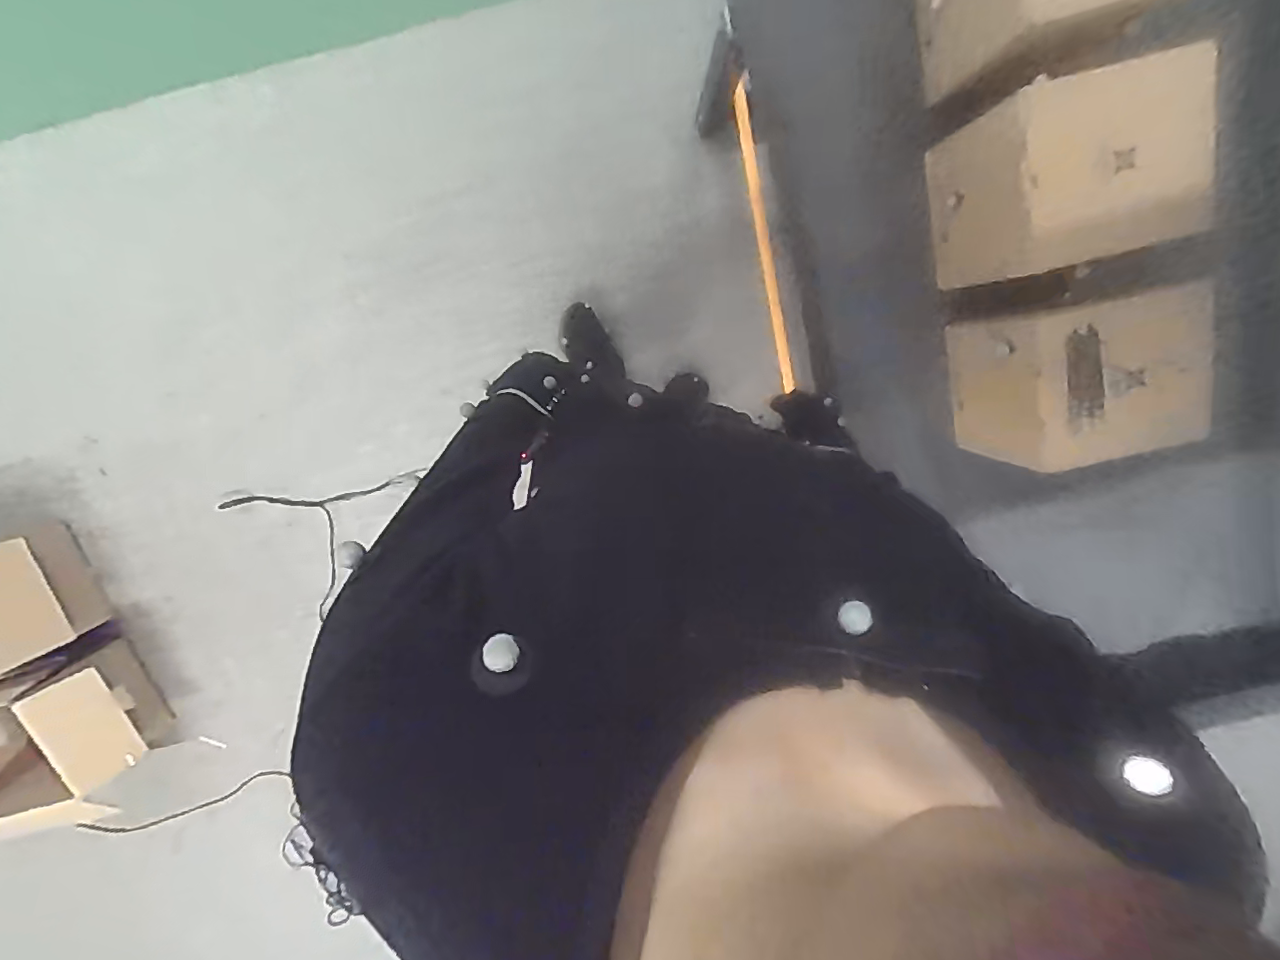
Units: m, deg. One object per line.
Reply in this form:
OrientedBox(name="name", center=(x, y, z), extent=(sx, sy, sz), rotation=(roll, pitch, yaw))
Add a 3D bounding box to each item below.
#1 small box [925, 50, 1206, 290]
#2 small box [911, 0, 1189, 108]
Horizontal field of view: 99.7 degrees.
OrientedBox(name="small box", center=(0.446, -0.316, 0.591), extent=(0.179, 0.176, 0.168), rotation=(-14, 104, 3))
OrientedBox(name="small box", center=(0.402, -0.513, 0.540), extent=(0.179, 0.176, 0.168), rotation=(-14, 104, 2))
